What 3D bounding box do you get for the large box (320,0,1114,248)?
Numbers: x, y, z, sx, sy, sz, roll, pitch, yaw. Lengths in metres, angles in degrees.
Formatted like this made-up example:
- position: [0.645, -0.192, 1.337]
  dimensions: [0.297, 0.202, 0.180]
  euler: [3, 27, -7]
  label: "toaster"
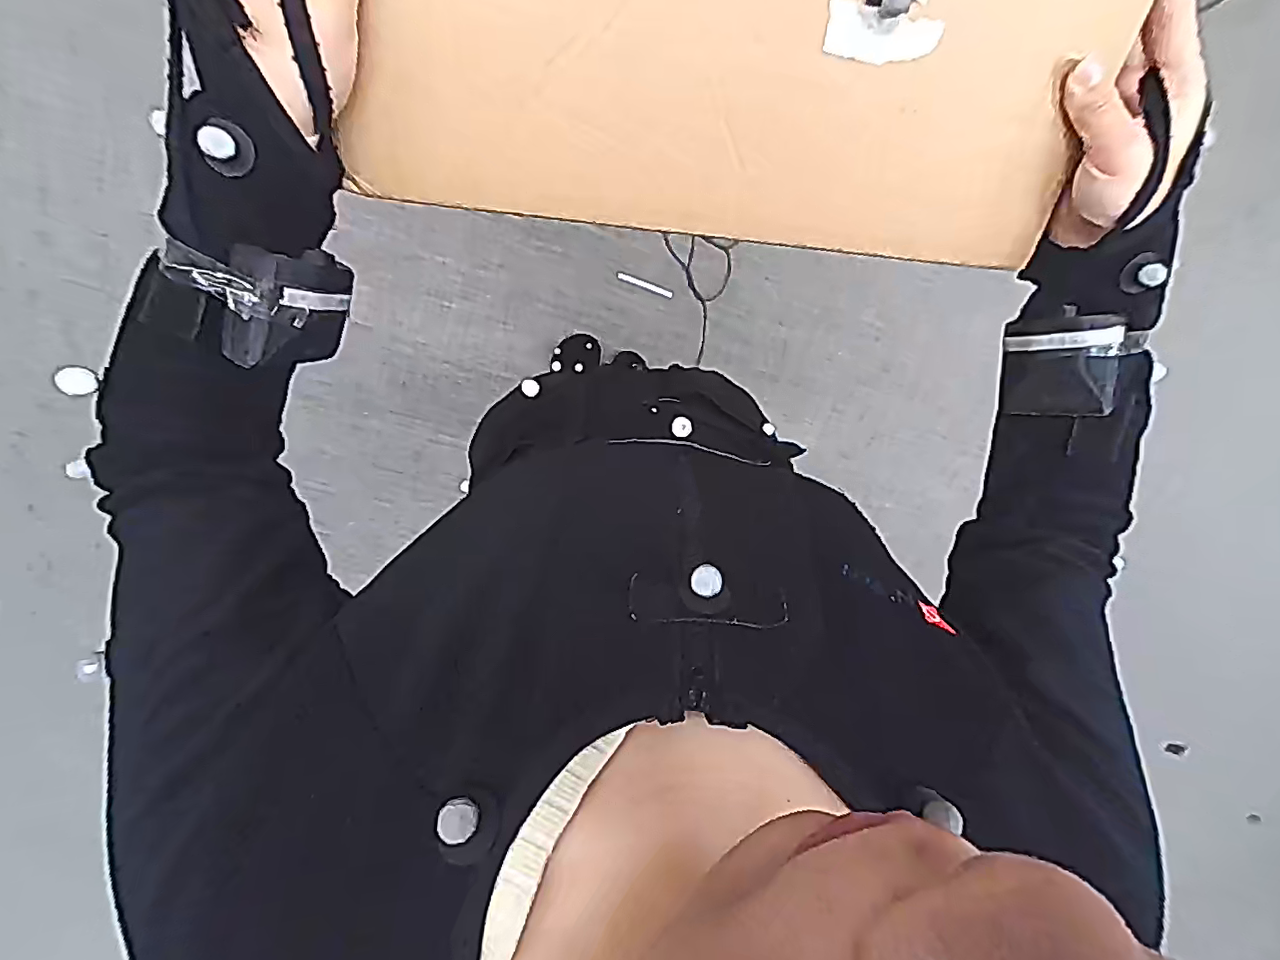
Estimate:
- position: [0.037, -0.361, 0.364]
  dimensions: [0.408, 0.320, 0.320]
  euler: [2, 123, -8]
  label: "large box"
